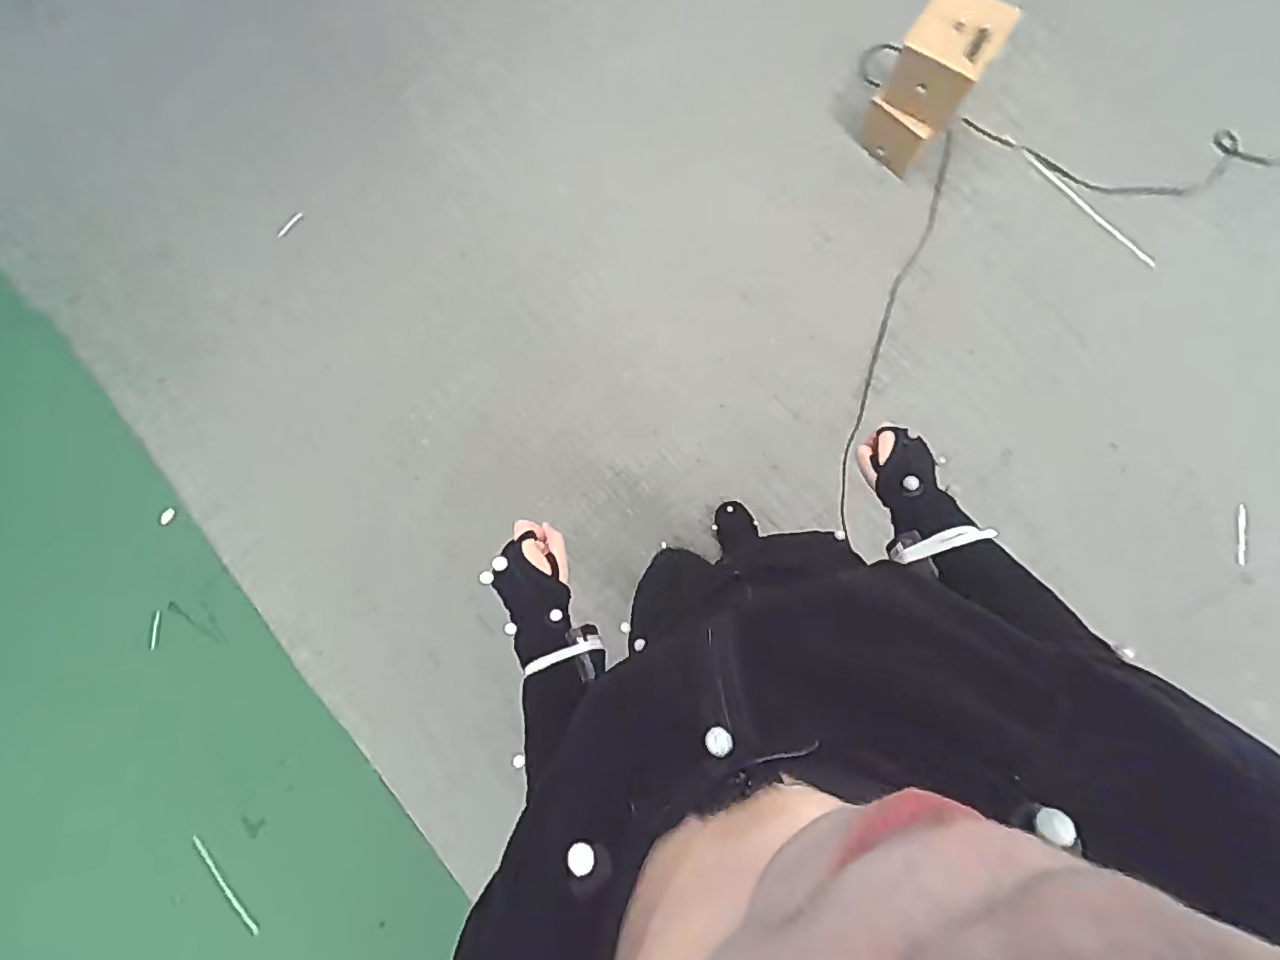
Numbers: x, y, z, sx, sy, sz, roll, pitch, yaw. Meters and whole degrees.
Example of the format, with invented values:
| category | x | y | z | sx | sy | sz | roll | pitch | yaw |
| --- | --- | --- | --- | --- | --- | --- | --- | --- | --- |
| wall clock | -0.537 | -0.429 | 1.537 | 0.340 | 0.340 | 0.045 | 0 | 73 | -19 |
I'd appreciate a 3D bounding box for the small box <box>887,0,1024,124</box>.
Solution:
| category | x | y | z | sx | sy | sz | roll | pitch | yaw |
| --- | --- | --- | --- | --- | --- | --- | --- | --- | --- |
| small box | 0.689 | -0.942 | 1.204 | 0.179 | 0.176 | 0.168 | 35 | 94 | 11 |
